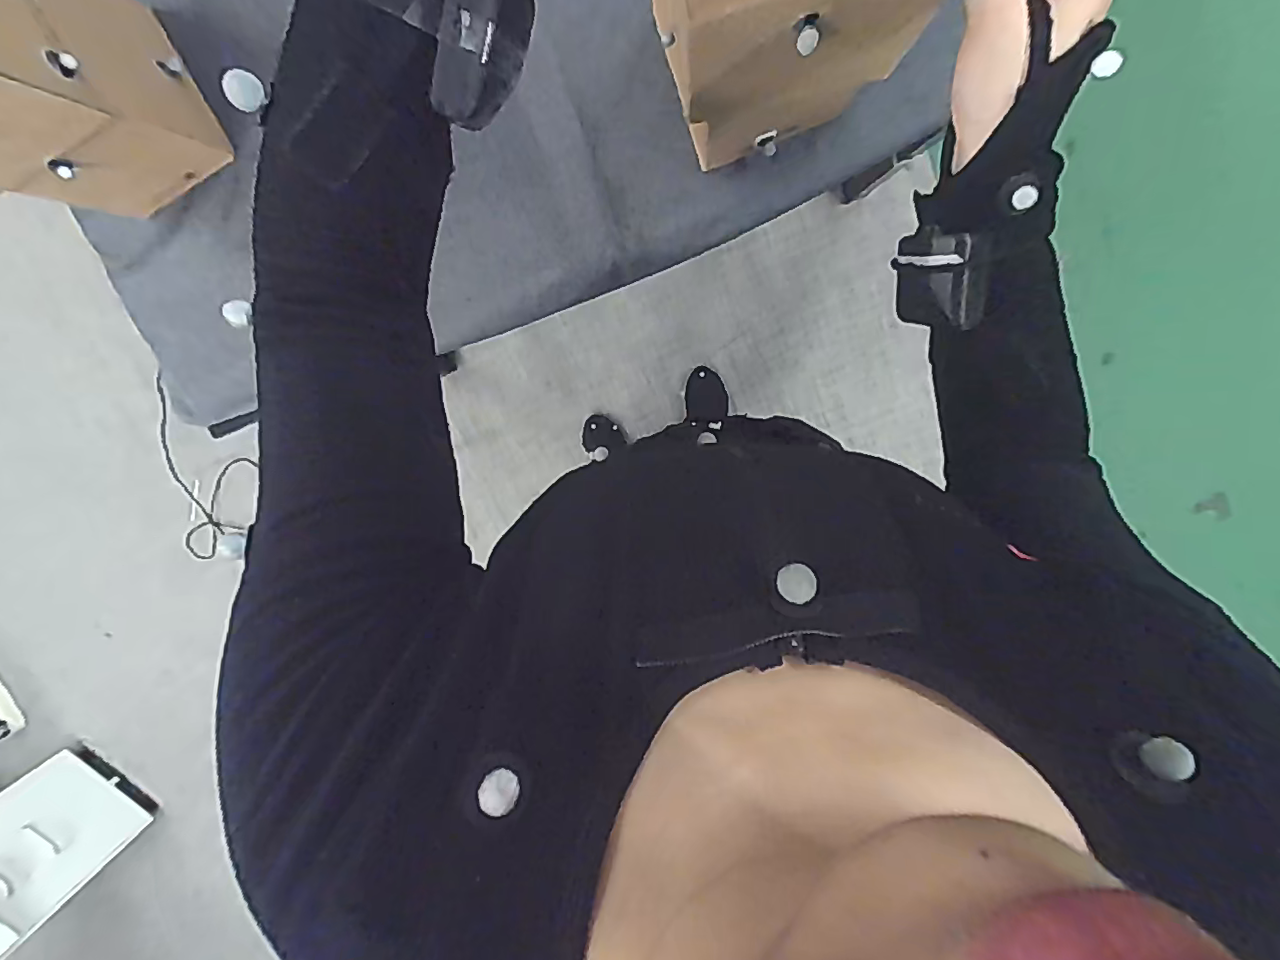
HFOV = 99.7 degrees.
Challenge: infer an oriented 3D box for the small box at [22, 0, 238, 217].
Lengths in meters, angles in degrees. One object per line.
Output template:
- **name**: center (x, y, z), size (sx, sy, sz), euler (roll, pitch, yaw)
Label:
- **small box**: center (-0.613, -0.425, 0.599), size (0.168, 0.176, 0.179), euler (-24, 103, 11)

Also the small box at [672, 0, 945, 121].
- **small box**: center (0.108, -0.384, 0.375), size (0.179, 0.176, 0.168), euler (-8, 104, 9)

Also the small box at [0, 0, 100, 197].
- **small box**: center (-0.619, -0.365, 0.445), size (0.179, 0.176, 0.168), euler (-23, 104, 11)

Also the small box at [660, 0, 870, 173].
- **small box**: center (0.118, -0.440, 0.528), size (0.168, 0.176, 0.179), euler (-19, 103, 11)
